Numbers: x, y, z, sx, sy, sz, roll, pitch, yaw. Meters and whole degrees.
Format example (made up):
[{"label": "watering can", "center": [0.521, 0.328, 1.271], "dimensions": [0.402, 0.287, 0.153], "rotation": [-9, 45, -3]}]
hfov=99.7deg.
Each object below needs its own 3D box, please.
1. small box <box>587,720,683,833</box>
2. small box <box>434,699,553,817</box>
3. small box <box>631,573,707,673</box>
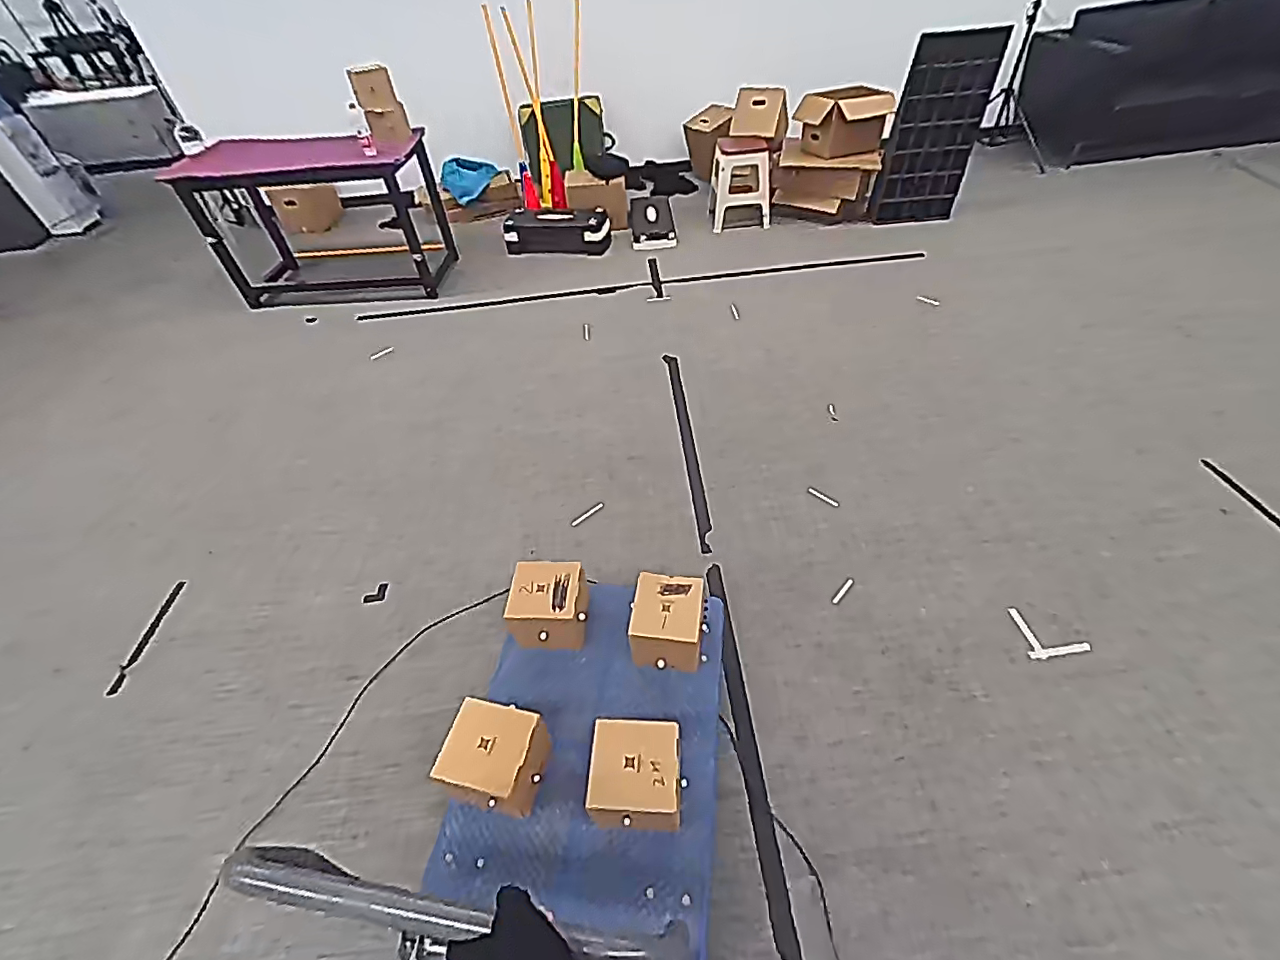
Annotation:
[{"label": "small box", "center": [-0.002, 0.617, 1.123], "dimensions": [0.179, 0.176, 0.168], "rotation": [0, 46, 6]}, {"label": "small box", "center": [-0.305, 0.602, 1.168], "dimensions": [0.179, 0.176, 0.168], "rotation": [8, 47, 11]}, {"label": "small box", "center": [0.077, 0.360, 1.361], "dimensions": [0.168, 0.176, 0.179], "rotation": [4, 48, 10]}]
